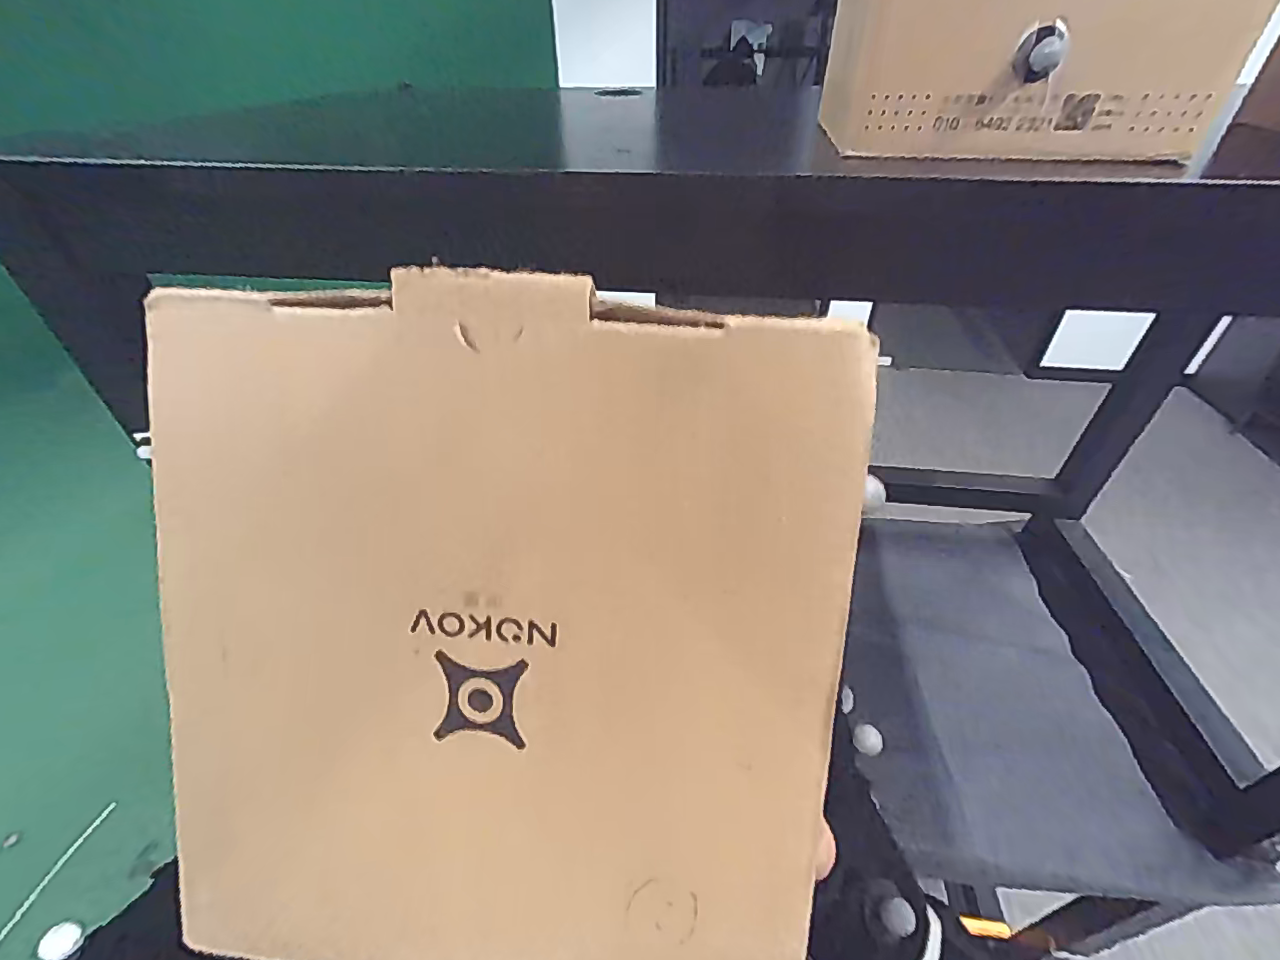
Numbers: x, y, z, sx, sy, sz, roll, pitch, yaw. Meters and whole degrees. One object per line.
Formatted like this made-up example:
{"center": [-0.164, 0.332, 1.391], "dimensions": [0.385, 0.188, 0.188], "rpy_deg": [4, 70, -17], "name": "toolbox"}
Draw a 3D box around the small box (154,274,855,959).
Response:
{"center": [-0.031, 0.031, 0.213], "dimensions": [0.168, 0.179, 0.176], "rpy_deg": [4, 8, 5], "name": "small box"}
